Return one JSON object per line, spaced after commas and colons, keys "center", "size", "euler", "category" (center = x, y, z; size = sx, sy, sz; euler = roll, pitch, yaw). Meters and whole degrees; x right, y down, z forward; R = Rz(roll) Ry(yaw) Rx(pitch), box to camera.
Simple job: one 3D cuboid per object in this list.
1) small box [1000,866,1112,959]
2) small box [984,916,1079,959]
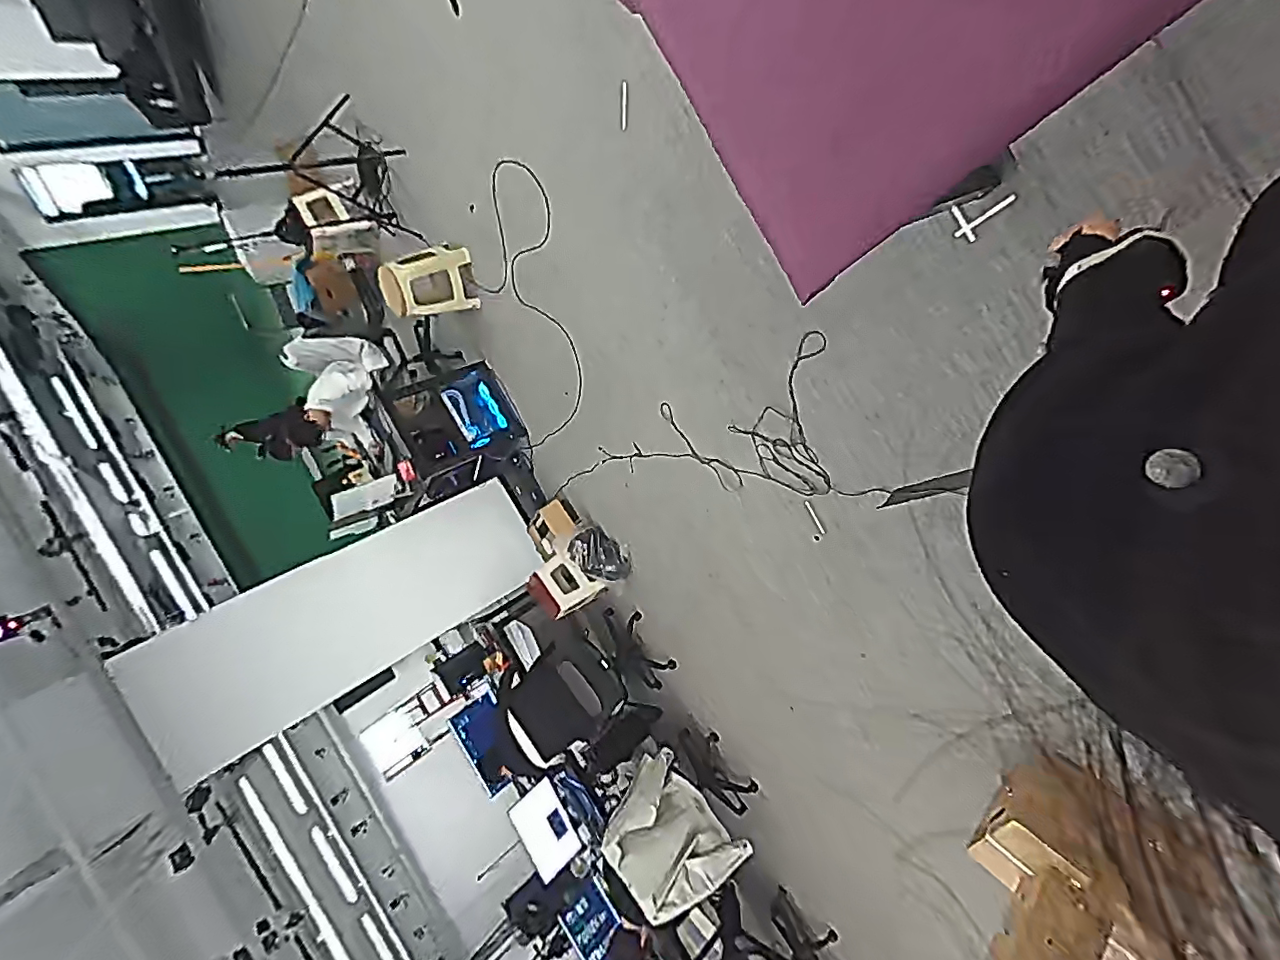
{"center": [1.135, 1.209, 1.474], "size": [0.168, 0.176, 0.179], "euler": [36, 140, 34], "category": "small box"}
{"center": [1.013, 1.280, 1.390], "size": [0.168, 0.176, 0.179], "euler": [36, 141, 33], "category": "small box"}
